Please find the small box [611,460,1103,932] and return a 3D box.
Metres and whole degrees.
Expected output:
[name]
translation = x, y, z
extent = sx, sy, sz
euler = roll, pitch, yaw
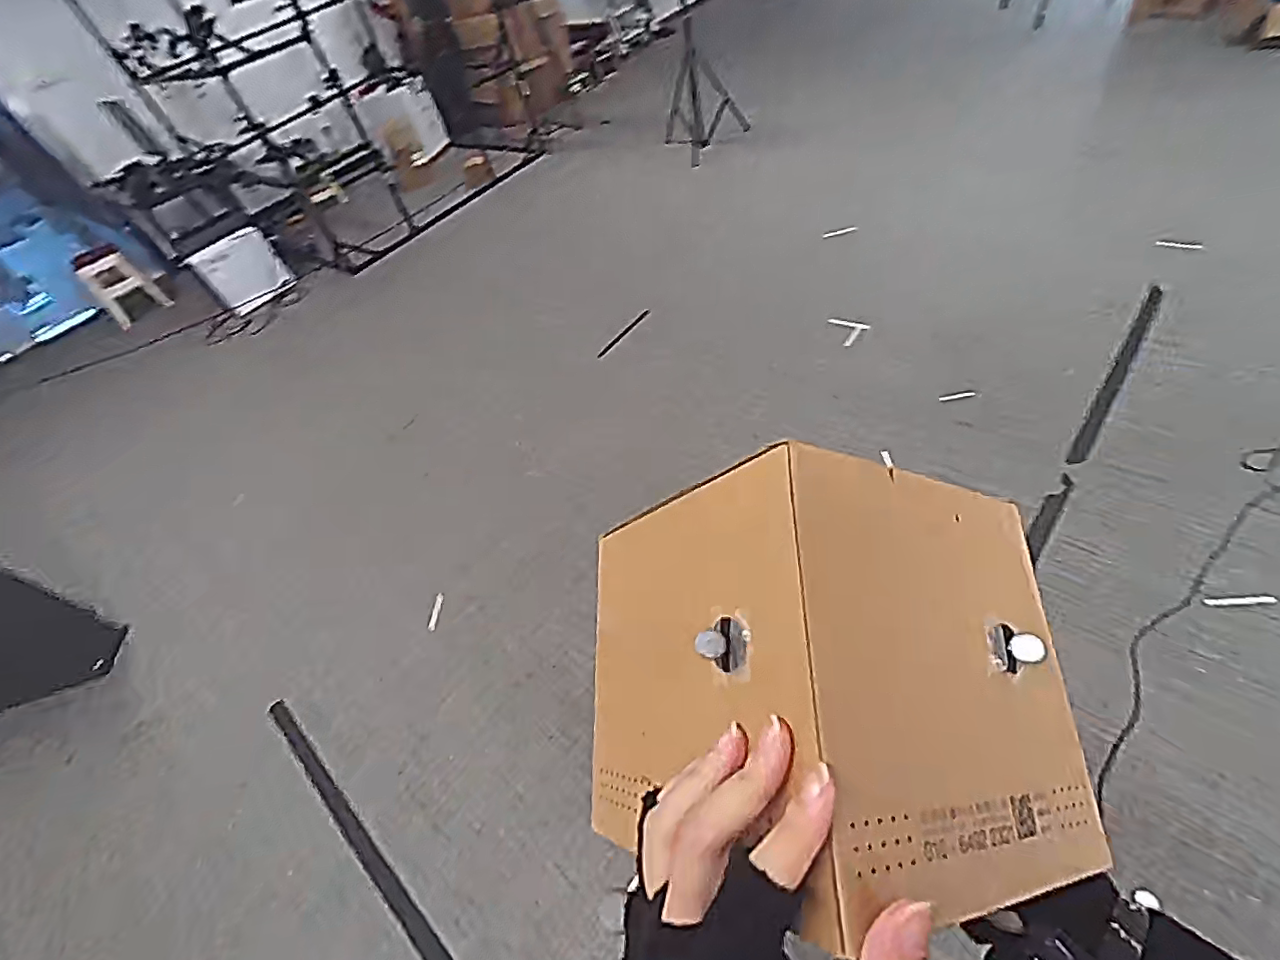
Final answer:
[small box]
translation = 0.094, 0.108, 0.290
extent = 0.168, 0.179, 0.176
euler = 12, 66, -27
